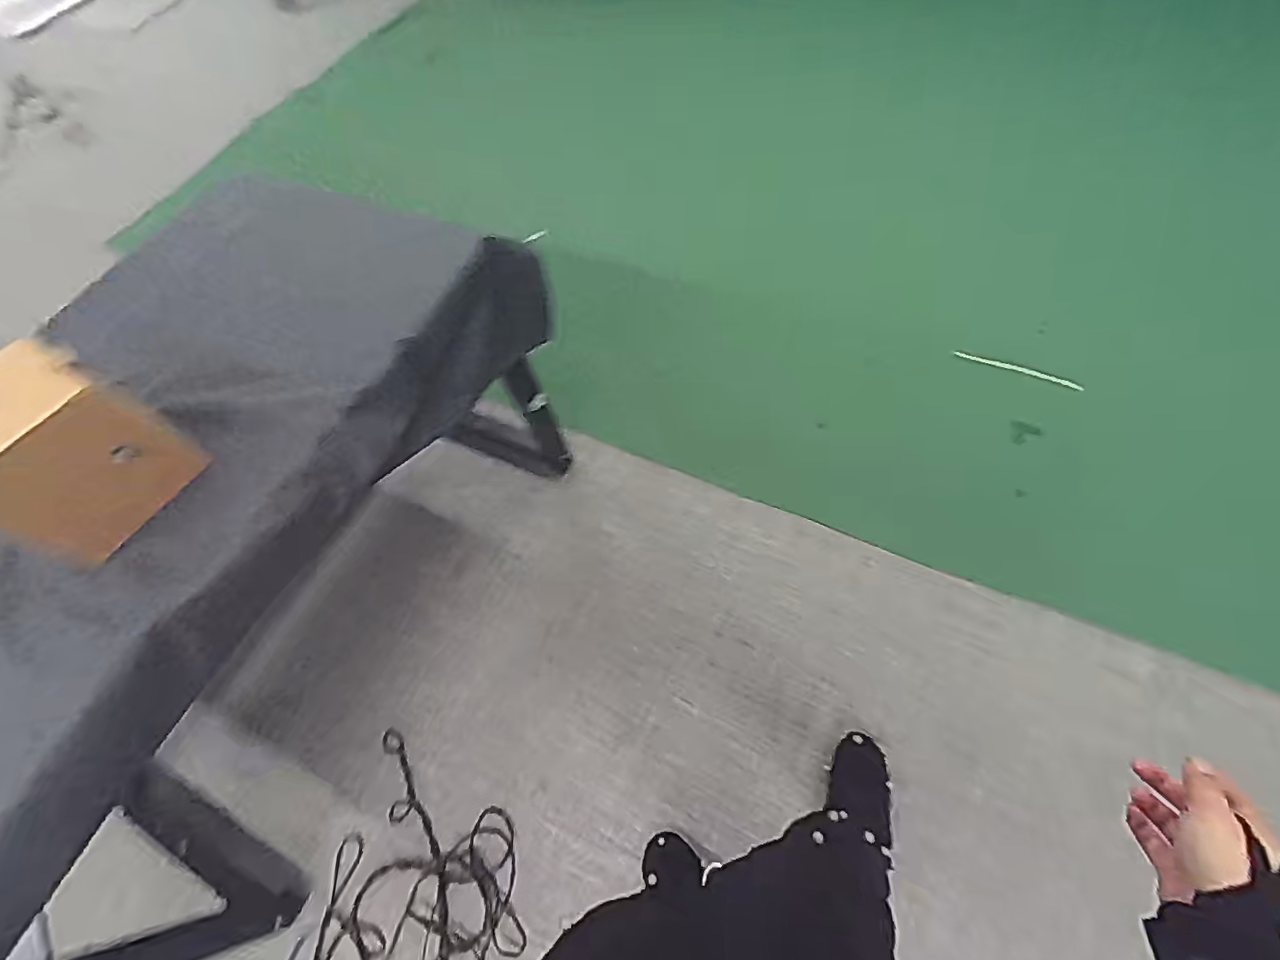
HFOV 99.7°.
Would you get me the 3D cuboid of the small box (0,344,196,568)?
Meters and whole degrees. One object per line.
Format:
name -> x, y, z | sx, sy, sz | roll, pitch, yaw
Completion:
small box -> -0.695, -0.024, 0.653 | 0.168, 0.176, 0.179 | 27, 69, 21
